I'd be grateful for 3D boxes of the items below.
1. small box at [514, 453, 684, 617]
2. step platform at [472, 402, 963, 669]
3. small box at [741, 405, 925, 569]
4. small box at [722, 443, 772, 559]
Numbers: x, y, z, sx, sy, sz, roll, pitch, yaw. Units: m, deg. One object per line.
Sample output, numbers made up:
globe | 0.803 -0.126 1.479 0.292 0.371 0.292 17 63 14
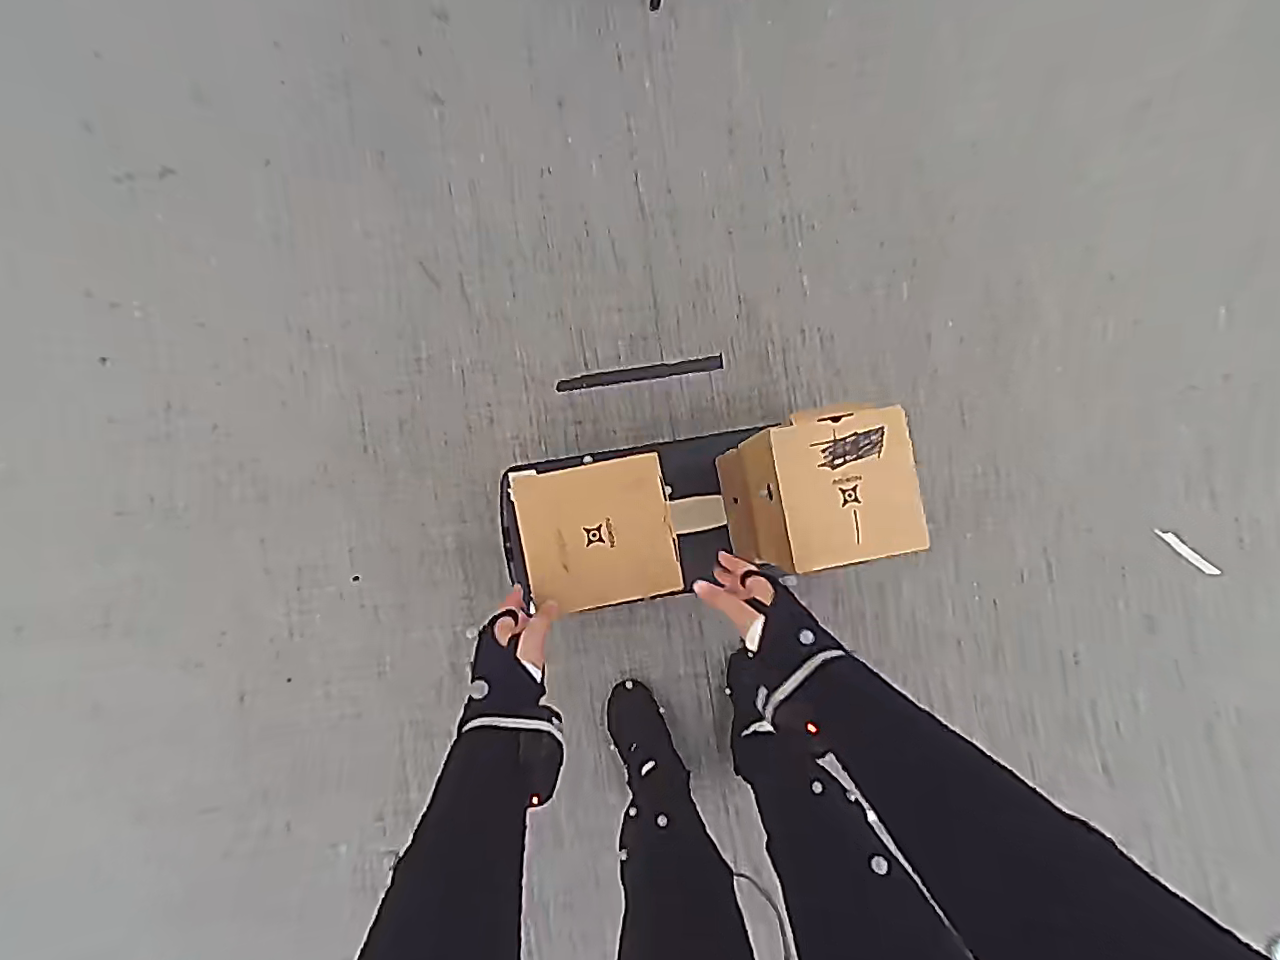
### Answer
small box | -0.052 0.066 0.711 0.179 0.176 0.168 -12 87 -2
step platform | 0.107 0.080 0.843 0.684 0.204 0.286 -9 87 -3
small box | 0.242 0.011 0.721 0.168 0.176 0.179 -10 89 -2
small box | 0.229 0.024 0.885 0.168 0.176 0.179 -10 88 -1
